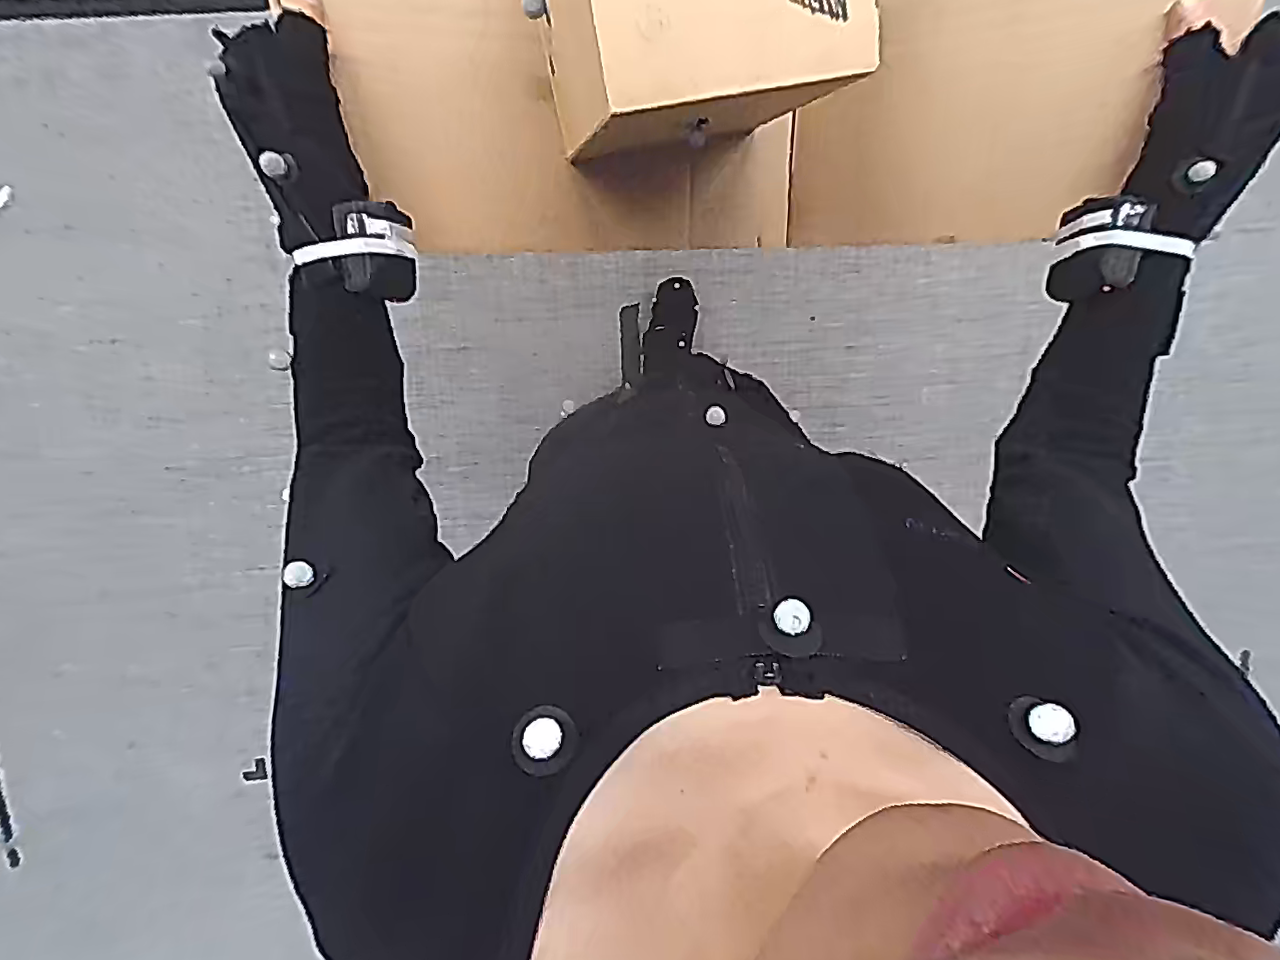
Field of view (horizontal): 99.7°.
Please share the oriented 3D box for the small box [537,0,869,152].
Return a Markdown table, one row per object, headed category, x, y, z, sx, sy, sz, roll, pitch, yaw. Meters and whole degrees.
| category | x | y | z | sx | sy | sz | roll | pitch | yaw |
| --- | --- | --- | --- | --- | --- | --- | --- | --- | --- |
| small box | 0.029 | -0.339 | 0.366 | 0.179 | 0.176 | 0.168 | -16 | 115 | -10 |
